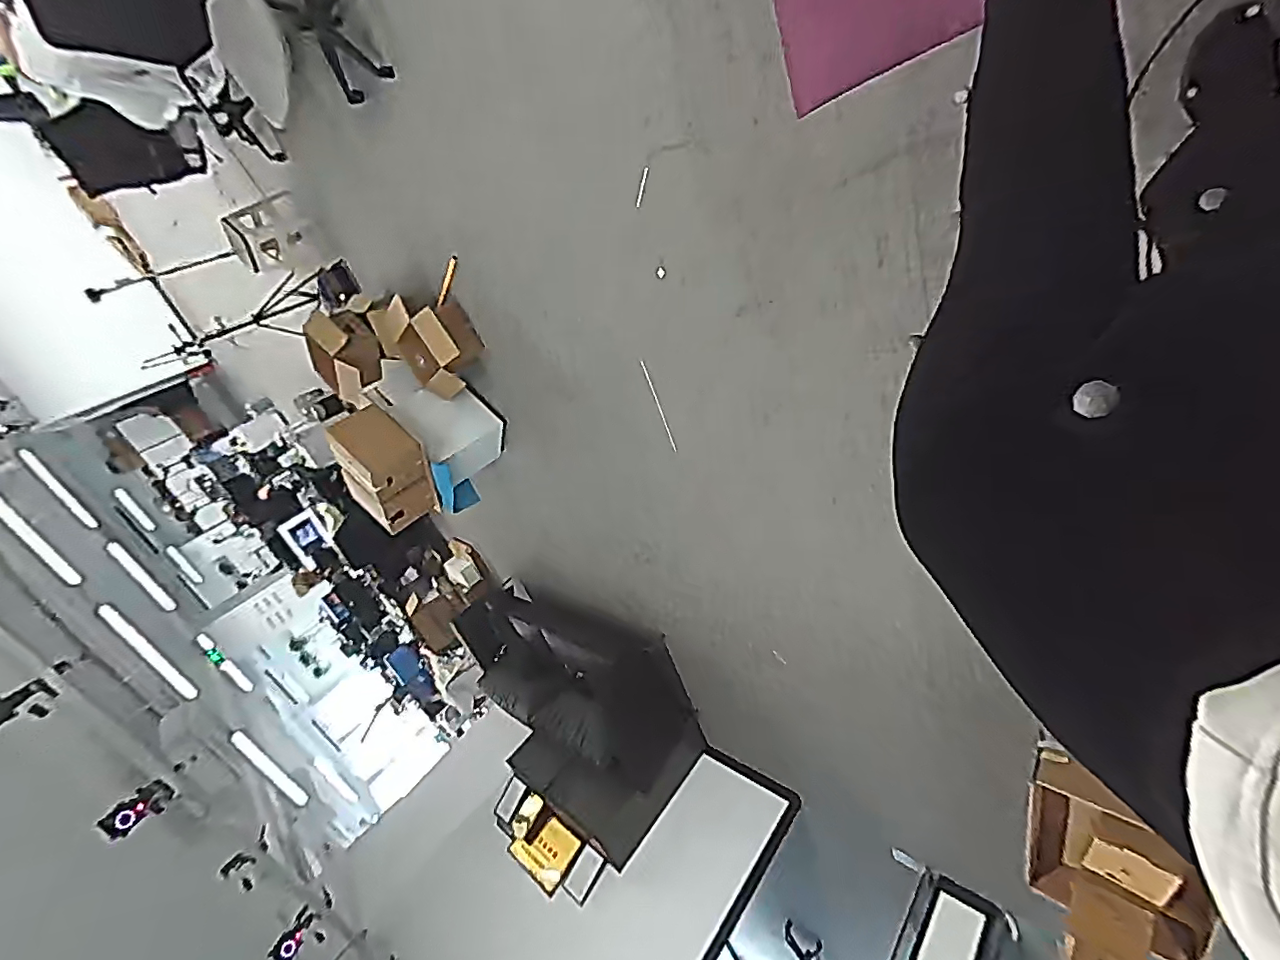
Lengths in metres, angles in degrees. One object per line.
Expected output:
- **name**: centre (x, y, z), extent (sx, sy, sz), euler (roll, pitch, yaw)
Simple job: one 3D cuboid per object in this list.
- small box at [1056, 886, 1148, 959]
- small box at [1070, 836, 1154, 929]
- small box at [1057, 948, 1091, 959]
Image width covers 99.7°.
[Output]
- **small box**: centre (1.239, 1.256, 1.451), extent (0.168, 0.176, 0.179), euler (9, 126, 45)
- **small box**: centre (1.344, 1.176, 1.544), extent (0.168, 0.176, 0.179), euler (9, 127, 44)
- **small box**: centre (1.136, 1.344, 1.357), extent (0.168, 0.176, 0.179), euler (19, 132, 39)
